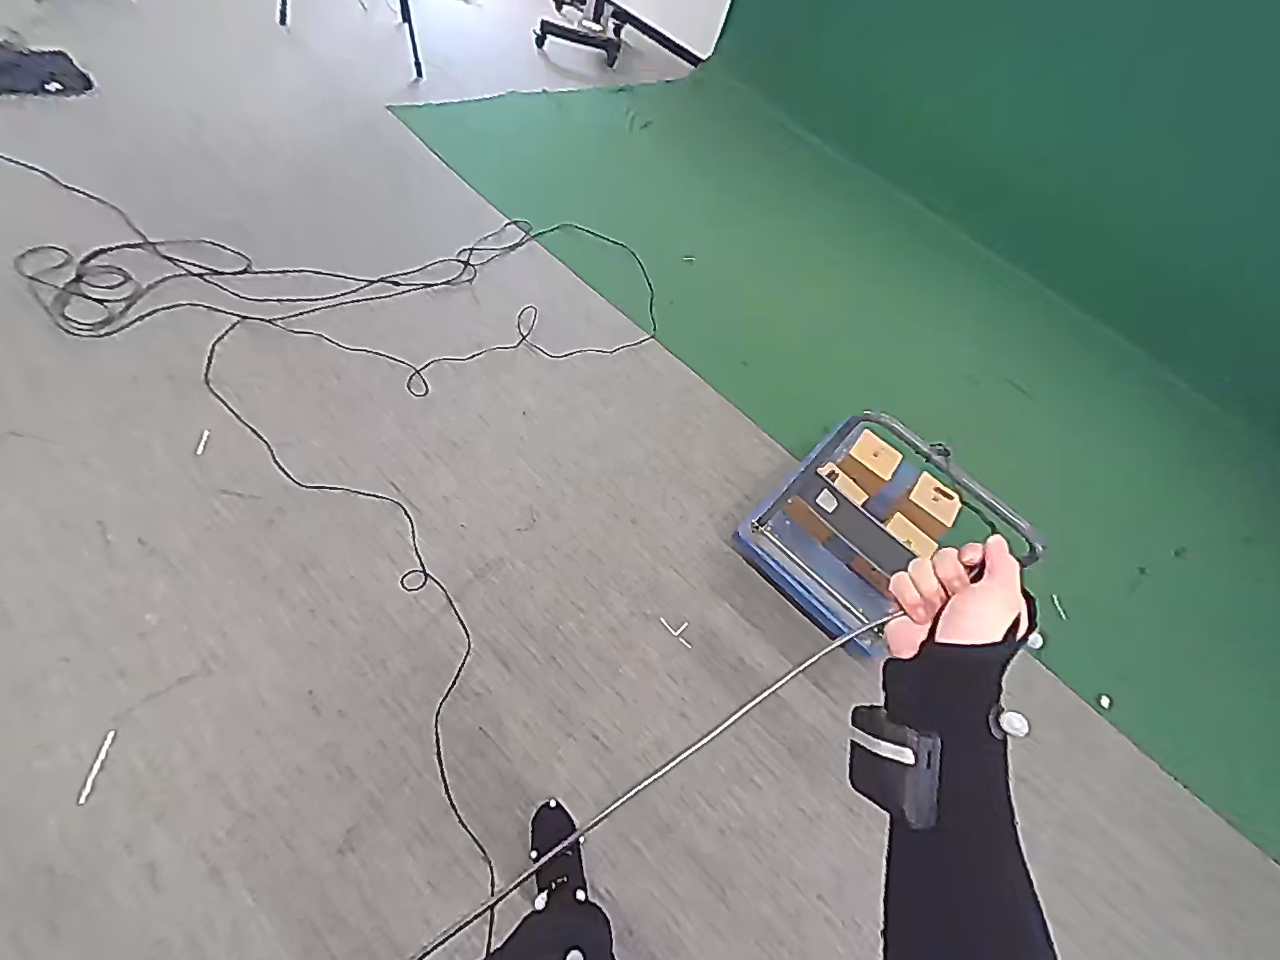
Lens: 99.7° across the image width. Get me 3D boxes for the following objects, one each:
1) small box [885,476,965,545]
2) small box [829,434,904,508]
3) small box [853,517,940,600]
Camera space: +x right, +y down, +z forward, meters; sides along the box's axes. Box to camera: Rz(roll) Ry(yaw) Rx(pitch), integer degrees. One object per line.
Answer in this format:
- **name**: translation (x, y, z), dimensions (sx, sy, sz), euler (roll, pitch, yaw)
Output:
- **small box**: translation (1.014, 0.126, 1.935), dimensions (0.168, 0.176, 0.179), euler (39, 54, 12)
- **small box**: translation (0.823, -0.030, 1.986), dimensions (0.168, 0.176, 0.179), euler (40, 53, 11)
- **small box**: translation (0.838, 0.261, 1.781), dimensions (0.168, 0.176, 0.179), euler (43, 55, 15)
